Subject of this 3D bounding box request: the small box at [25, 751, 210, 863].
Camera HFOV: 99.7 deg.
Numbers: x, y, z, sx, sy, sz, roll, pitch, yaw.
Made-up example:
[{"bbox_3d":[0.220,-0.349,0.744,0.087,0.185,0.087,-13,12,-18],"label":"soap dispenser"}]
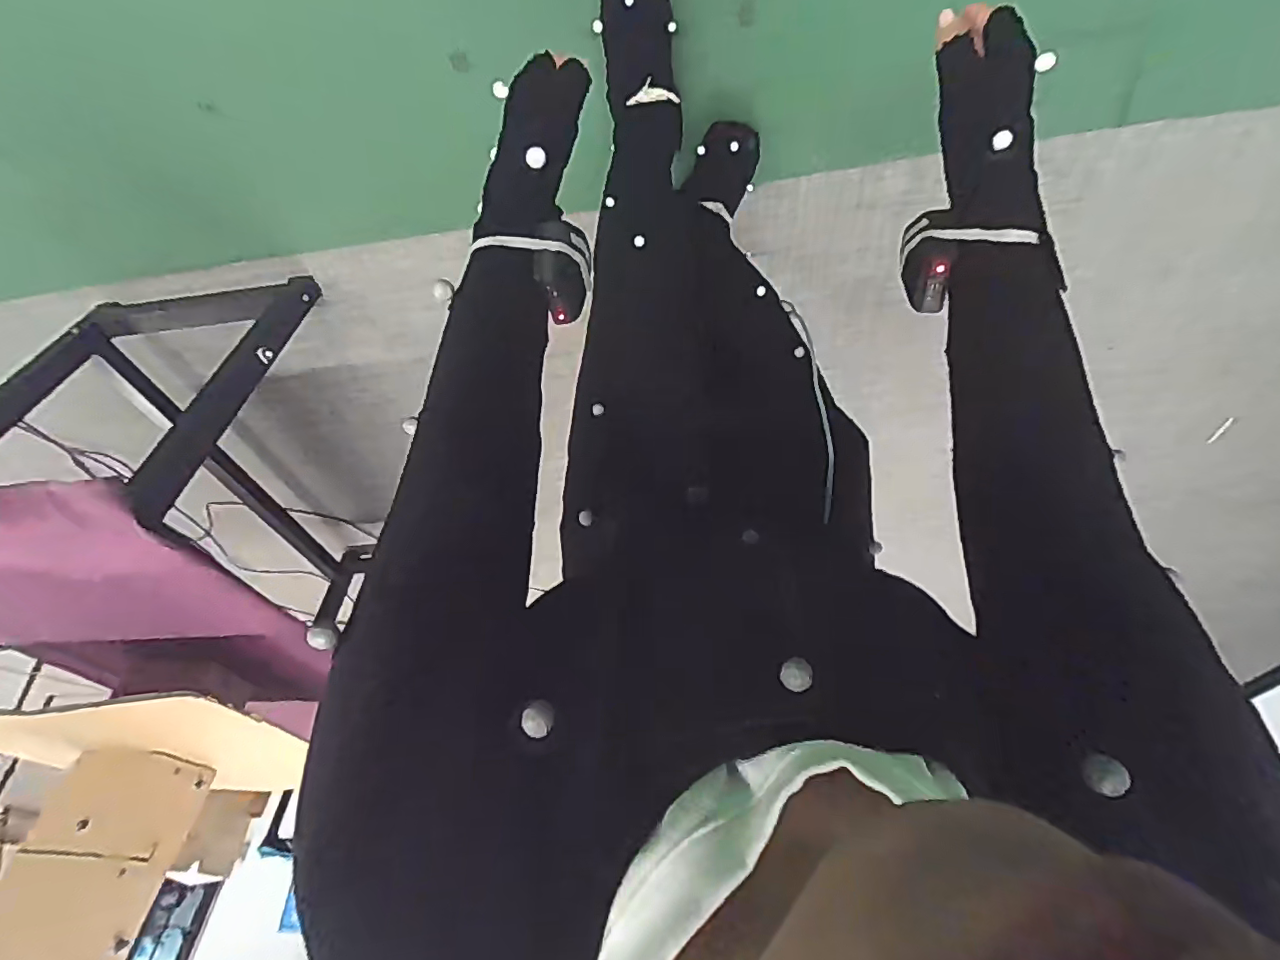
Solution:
[{"bbox_3d":[-1.004,0.644,1.066,0.179,0.176,0.168,-1,140,7],"label":"small box"}]
